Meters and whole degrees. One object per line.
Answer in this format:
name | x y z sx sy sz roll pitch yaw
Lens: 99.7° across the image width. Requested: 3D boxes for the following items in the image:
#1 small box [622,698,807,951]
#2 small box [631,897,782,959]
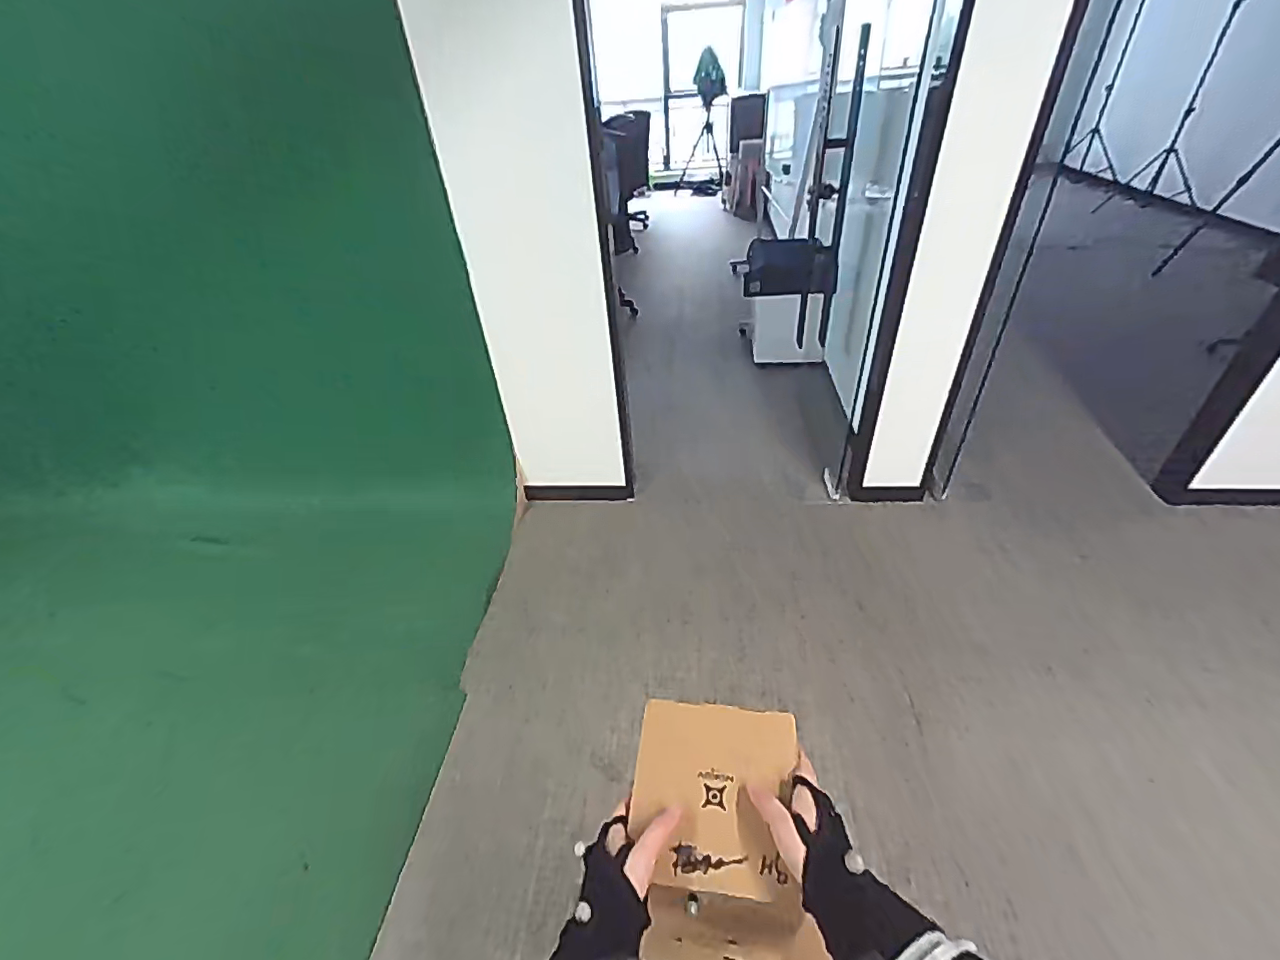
small box | 0.082 0.366 0.585 0.168 0.176 0.179 1 38 10
small box | 0.099 0.501 0.681 0.168 0.176 0.179 8 38 17
